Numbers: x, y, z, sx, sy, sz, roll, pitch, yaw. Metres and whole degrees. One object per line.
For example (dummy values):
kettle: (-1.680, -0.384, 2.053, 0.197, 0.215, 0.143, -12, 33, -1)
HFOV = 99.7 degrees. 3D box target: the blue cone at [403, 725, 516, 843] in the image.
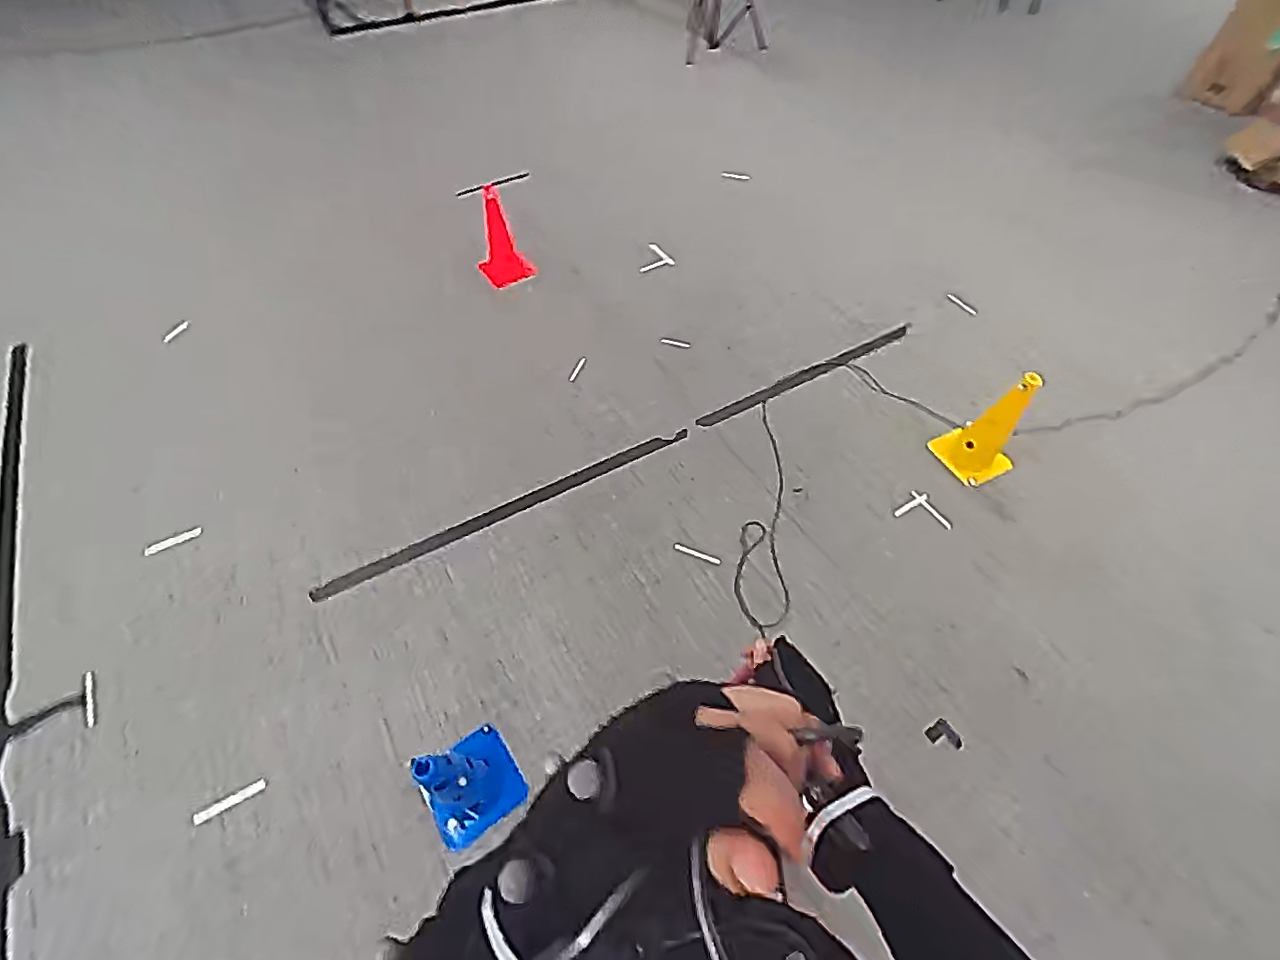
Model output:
blue cone: (-0.398, 0.605, 1.107, 0.193, 0.380, 0.192, -30, 61, -19)

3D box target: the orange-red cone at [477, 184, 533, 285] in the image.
orange-red cone: (-0.588, -1.014, 2.193, 0.199, 0.360, 0.198, -30, 61, -17)
